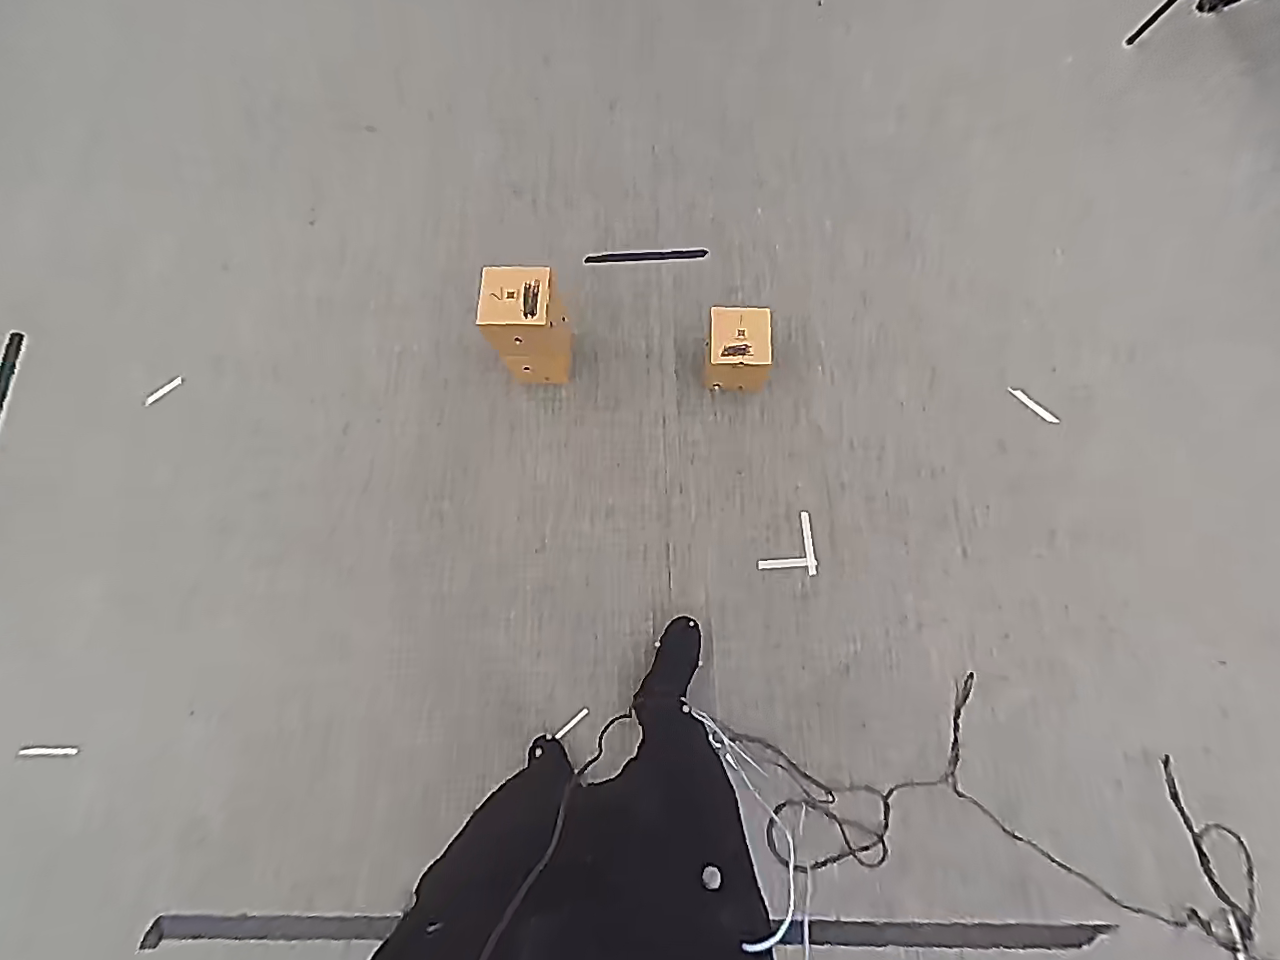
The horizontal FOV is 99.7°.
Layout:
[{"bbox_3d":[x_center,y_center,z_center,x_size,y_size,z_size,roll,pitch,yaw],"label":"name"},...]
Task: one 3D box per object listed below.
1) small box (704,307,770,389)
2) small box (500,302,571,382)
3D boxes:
[{"bbox_3d":[0.275,-0.371,1.547,0.168,0.176,0.179,2,75,2],"label":"small box"},{"bbox_3d":[-0.298,-0.395,1.572,0.168,0.176,0.179,0,75,2],"label":"small box"}]
